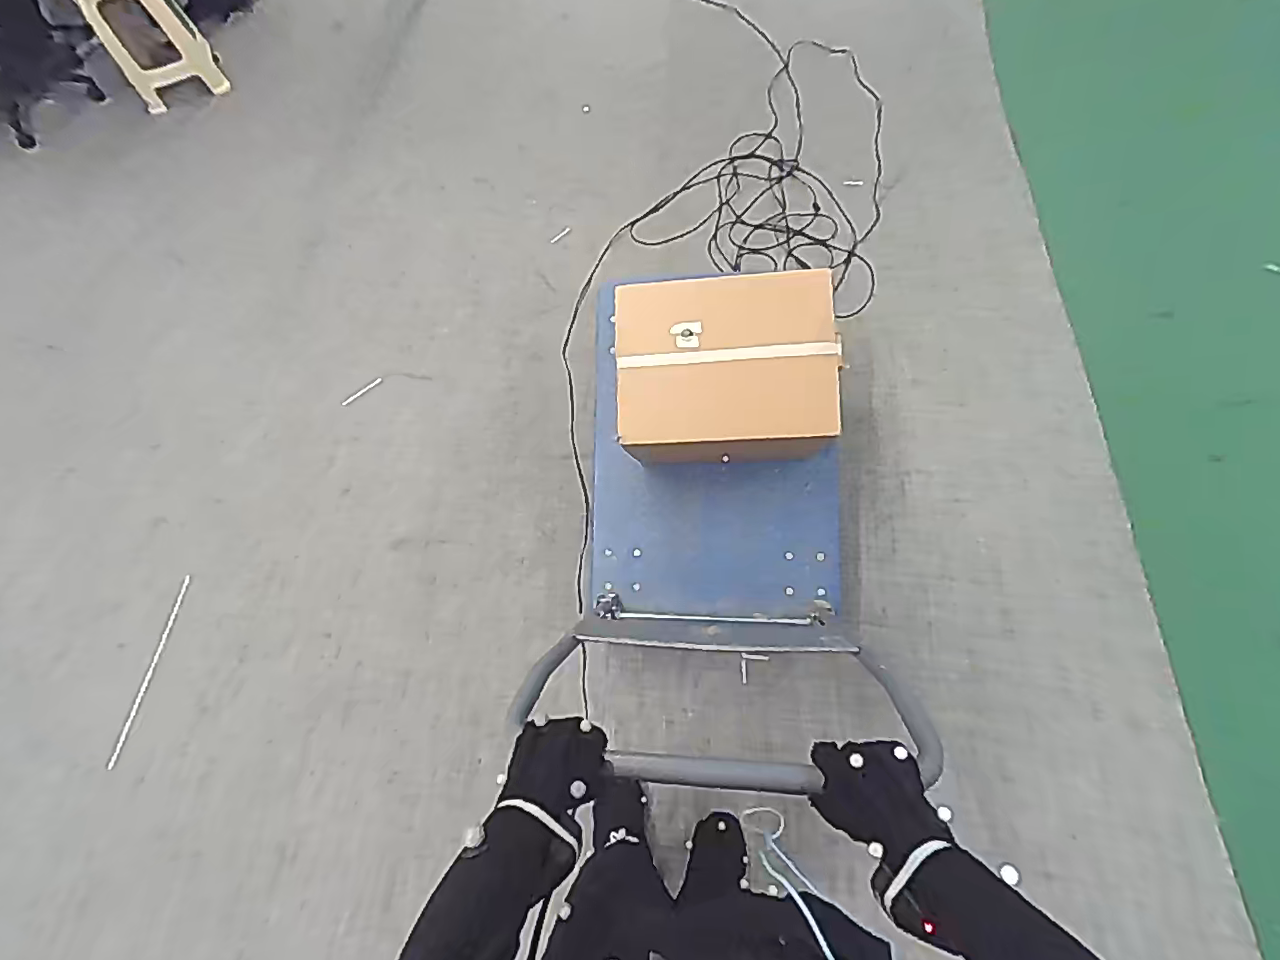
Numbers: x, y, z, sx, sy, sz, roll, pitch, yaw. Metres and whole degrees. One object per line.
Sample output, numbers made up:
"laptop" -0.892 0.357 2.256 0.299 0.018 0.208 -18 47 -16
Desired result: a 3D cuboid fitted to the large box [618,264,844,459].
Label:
"large box" 0.185 -0.218 1.141 0.408 0.320 0.320 -3 85 10
